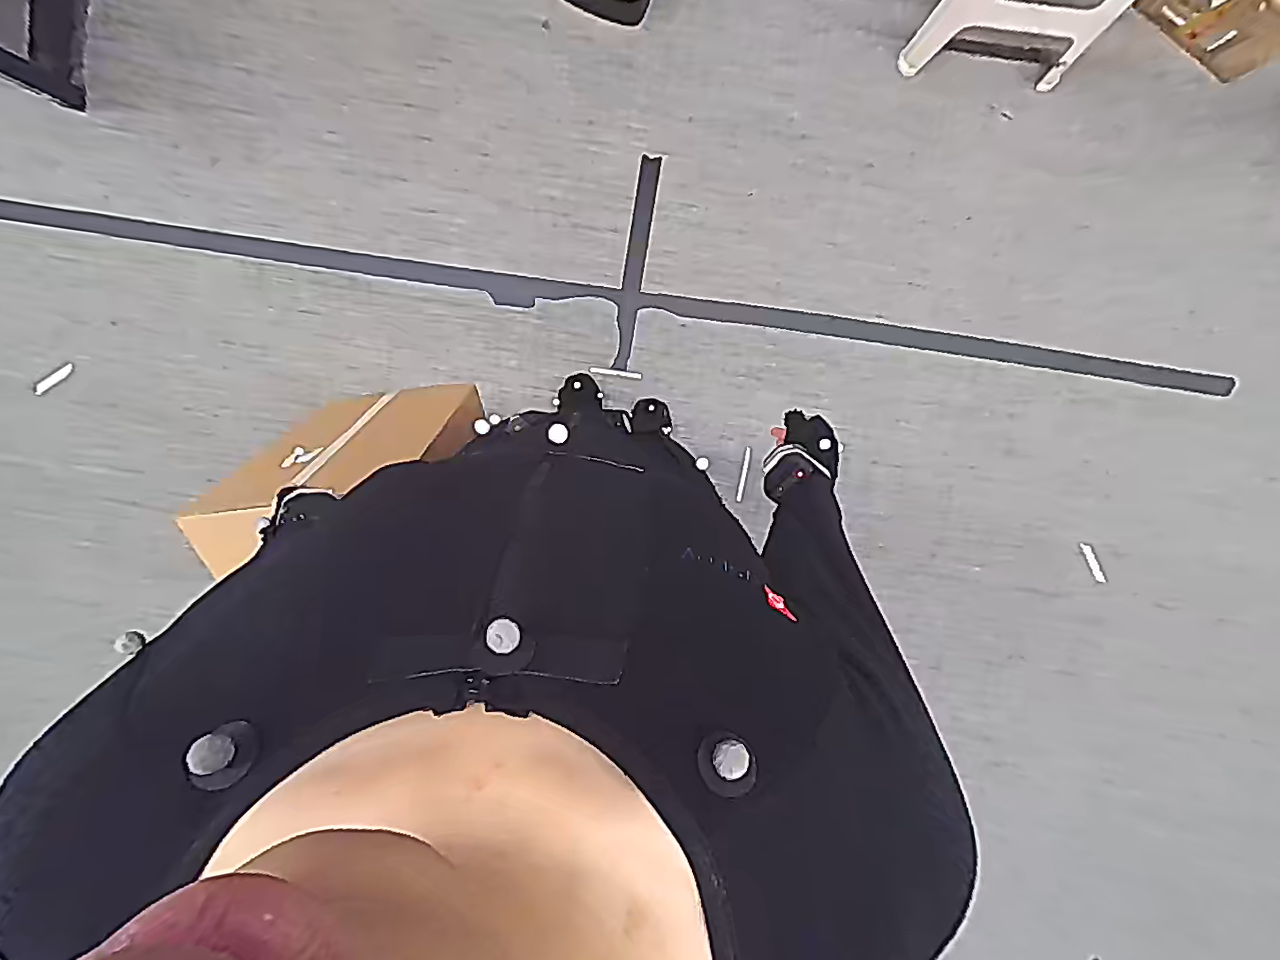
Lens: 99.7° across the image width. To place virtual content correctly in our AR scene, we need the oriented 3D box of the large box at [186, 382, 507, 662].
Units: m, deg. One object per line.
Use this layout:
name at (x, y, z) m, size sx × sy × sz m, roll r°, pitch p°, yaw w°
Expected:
large box at (-0.458, 0.056, 0.974) m, size 0.320 × 0.408 × 0.320 m, roll -8°, pitch 122°, yaw 4°
